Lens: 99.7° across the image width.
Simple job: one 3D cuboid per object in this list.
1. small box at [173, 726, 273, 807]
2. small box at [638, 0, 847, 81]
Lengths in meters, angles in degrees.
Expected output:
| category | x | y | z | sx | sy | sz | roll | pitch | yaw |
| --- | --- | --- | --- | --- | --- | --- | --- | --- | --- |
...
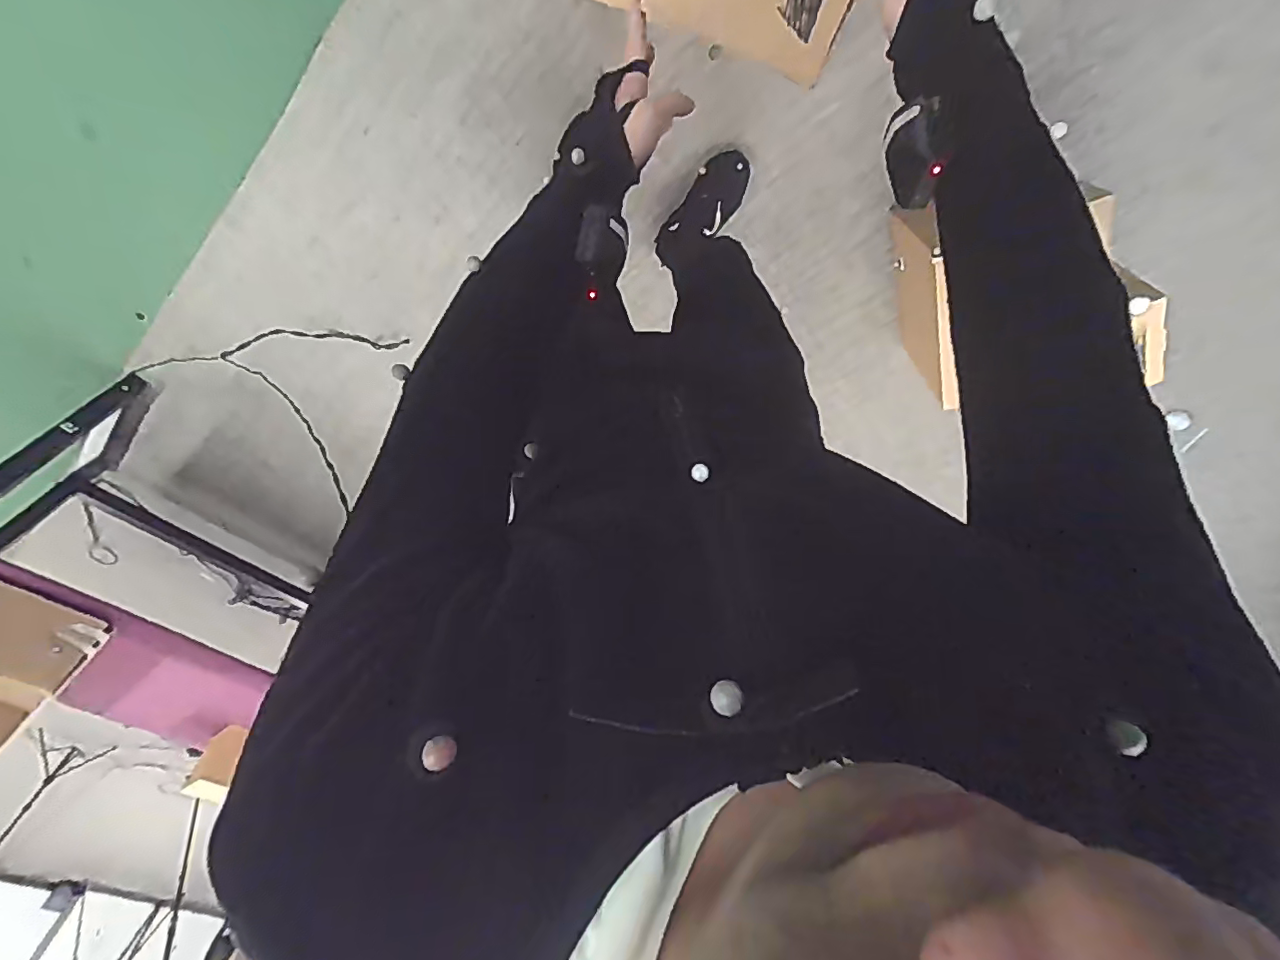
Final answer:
| category | x | y | z | sx | sy | sz | roll | pitch | yaw |
| --- | --- | --- | --- | --- | --- | --- | --- | --- | --- |
| small box | -1.295 | 0.896 | 1.694 | 0.179 | 0.176 | 0.168 | -33 | 122 | 28 |
| small box | 0.111 | -0.503 | 0.490 | 0.179 | 0.176 | 0.168 | 18 | 132 | -8 |
